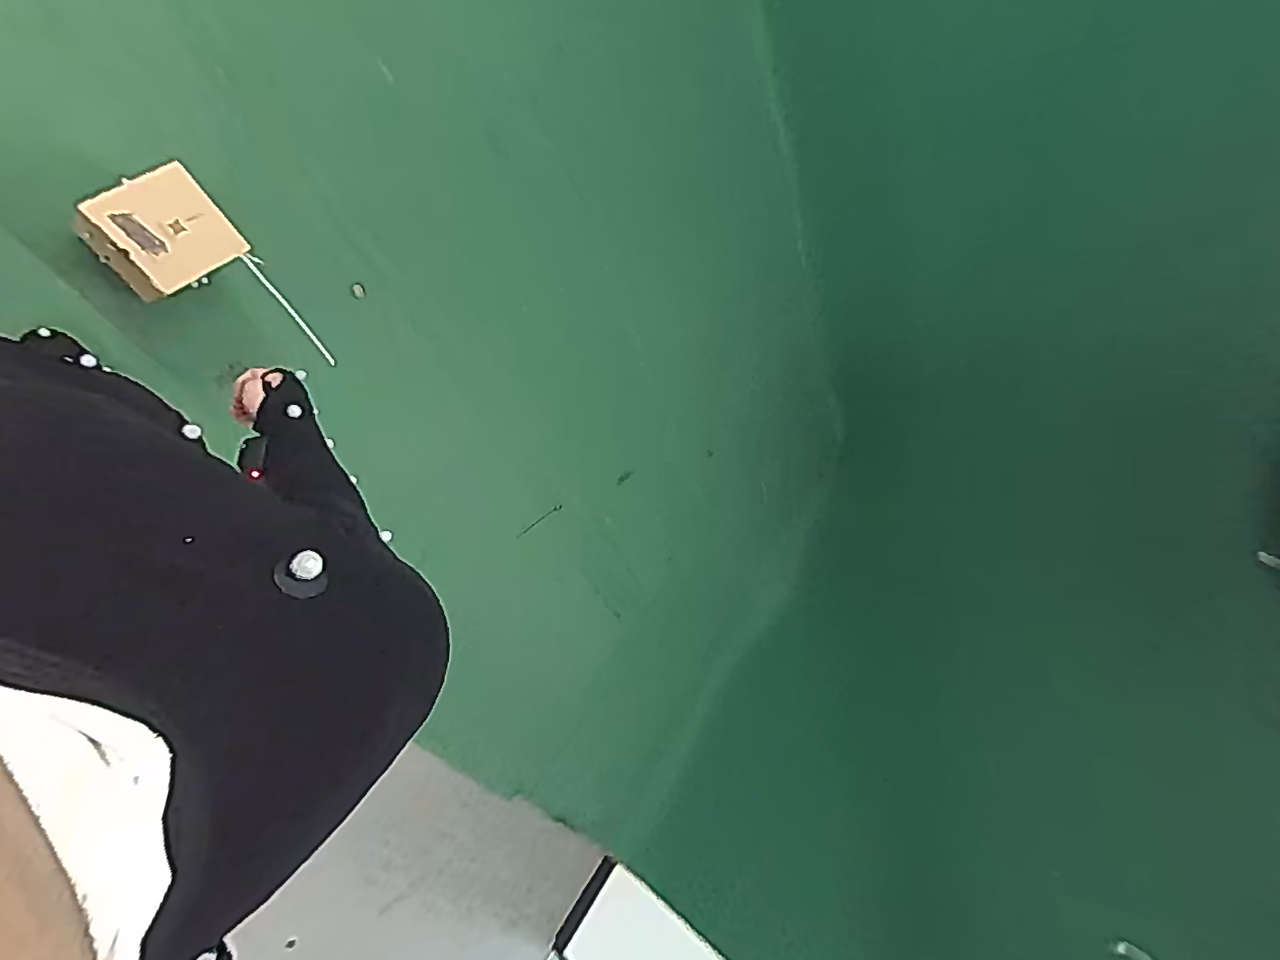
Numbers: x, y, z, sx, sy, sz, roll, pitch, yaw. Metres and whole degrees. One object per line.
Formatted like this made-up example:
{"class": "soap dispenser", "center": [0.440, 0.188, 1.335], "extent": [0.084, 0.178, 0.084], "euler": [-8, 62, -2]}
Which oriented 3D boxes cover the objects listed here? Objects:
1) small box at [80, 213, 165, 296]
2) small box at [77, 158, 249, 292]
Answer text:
{"class": "small box", "center": [-1.011, -0.504, 1.129], "extent": [0.179, 0.176, 0.168], "euler": [-49, 132, -25]}
{"class": "small box", "center": [-0.894, -0.471, 1.019], "extent": [0.179, 0.176, 0.168], "euler": [-50, 133, -26]}
